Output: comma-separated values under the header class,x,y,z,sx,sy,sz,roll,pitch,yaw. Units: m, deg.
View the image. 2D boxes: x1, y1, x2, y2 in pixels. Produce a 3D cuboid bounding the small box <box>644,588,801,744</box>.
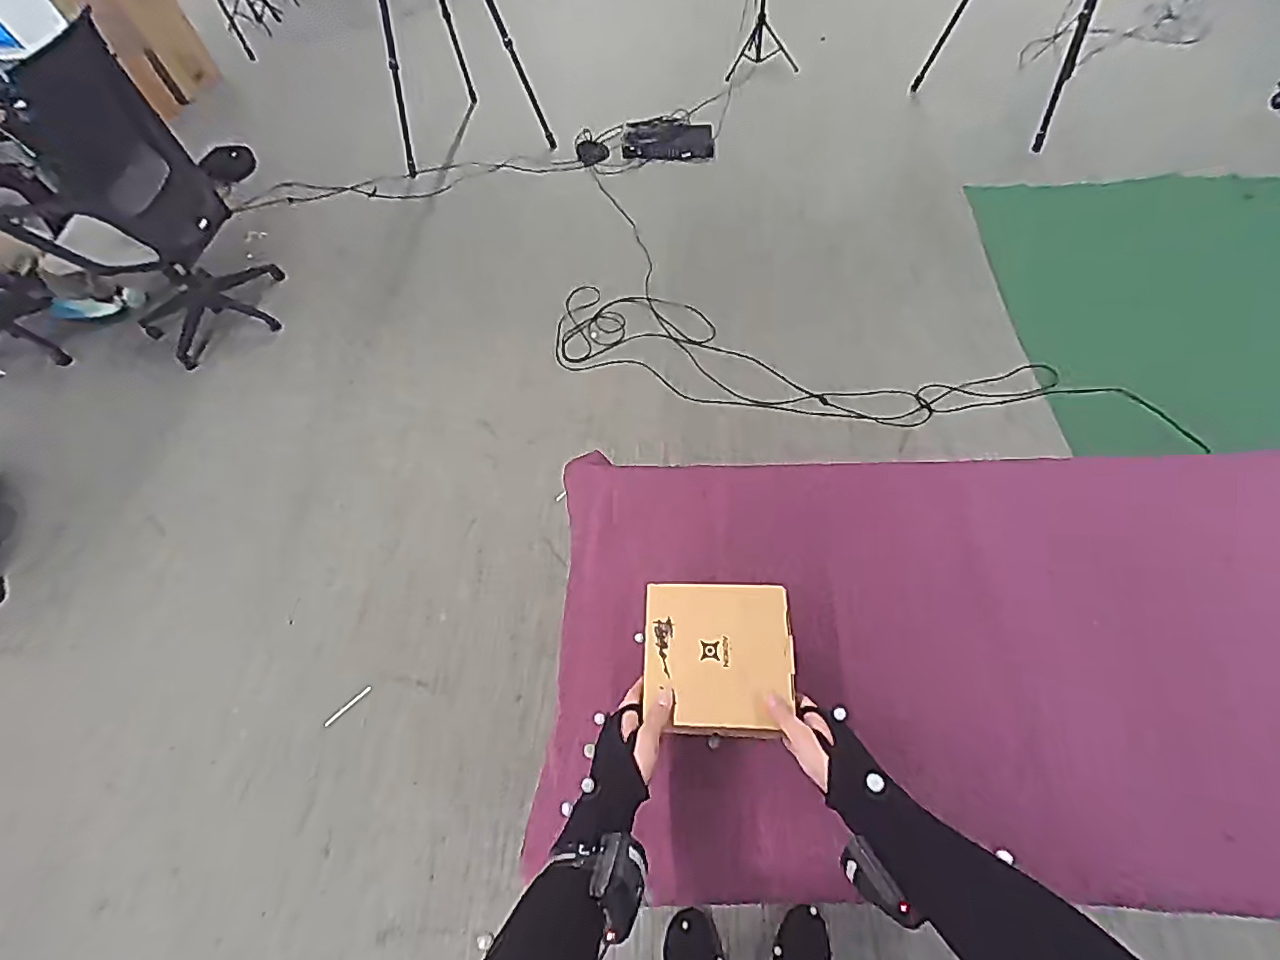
class,x,y,z,sx,sy,sz,roll,pitch,yaw
small box,0.100,0.247,0.706,0.179,0.176,0.168,1,62,5
